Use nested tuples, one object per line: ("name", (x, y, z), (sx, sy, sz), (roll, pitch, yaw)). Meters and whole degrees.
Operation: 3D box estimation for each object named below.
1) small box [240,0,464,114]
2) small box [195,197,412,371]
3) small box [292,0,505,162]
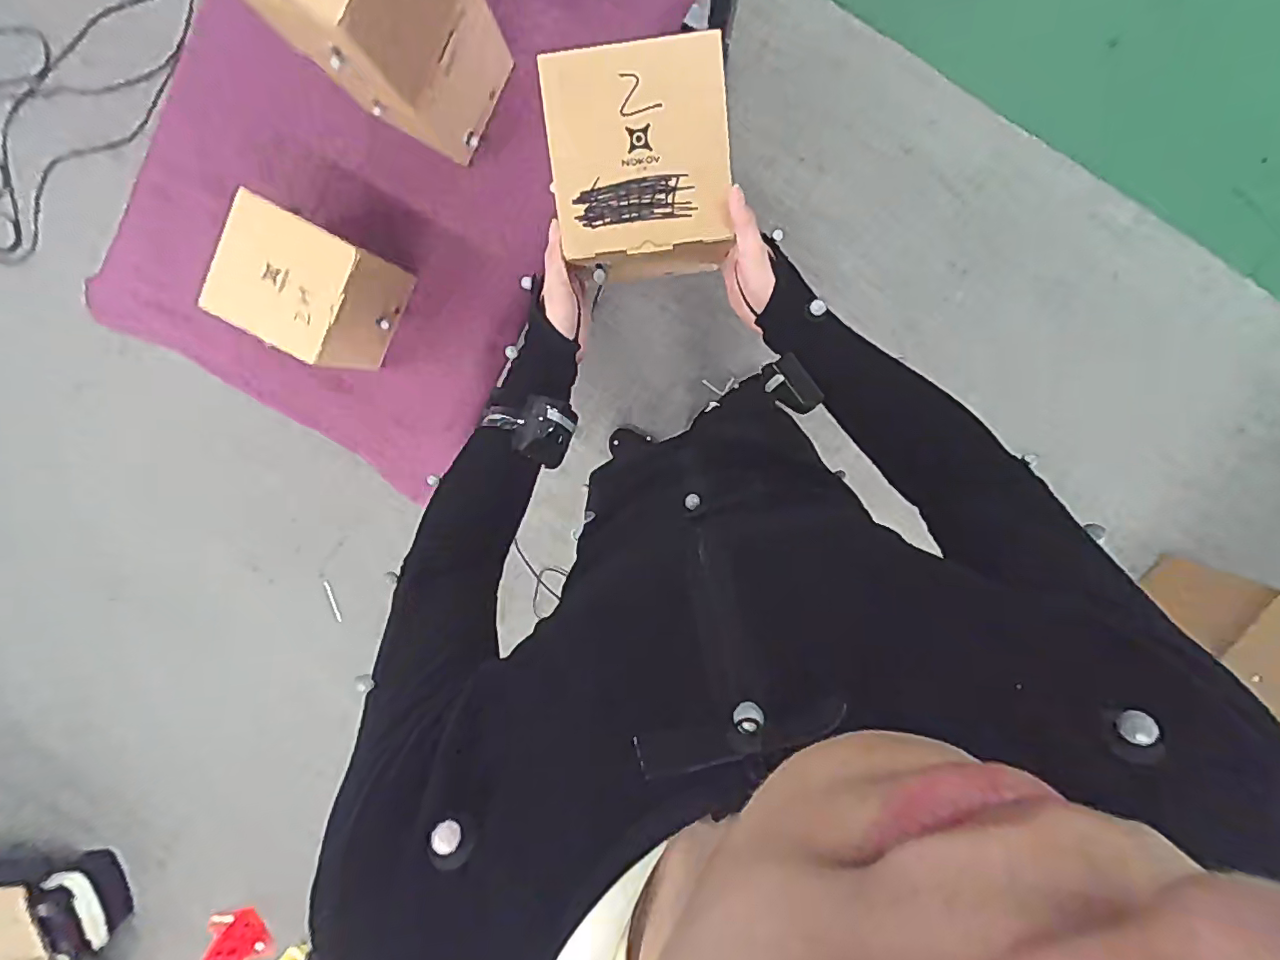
("small box", (-0.311, -0.538, 0.567), (0.168, 0.176, 0.179), (29, 98, -3))
("small box", (-0.470, -0.265, 0.781), (0.179, 0.176, 0.168), (27, 100, -2))
("small box", (-0.307, -0.566, 0.728), (0.179, 0.176, 0.168), (29, 99, -2))
